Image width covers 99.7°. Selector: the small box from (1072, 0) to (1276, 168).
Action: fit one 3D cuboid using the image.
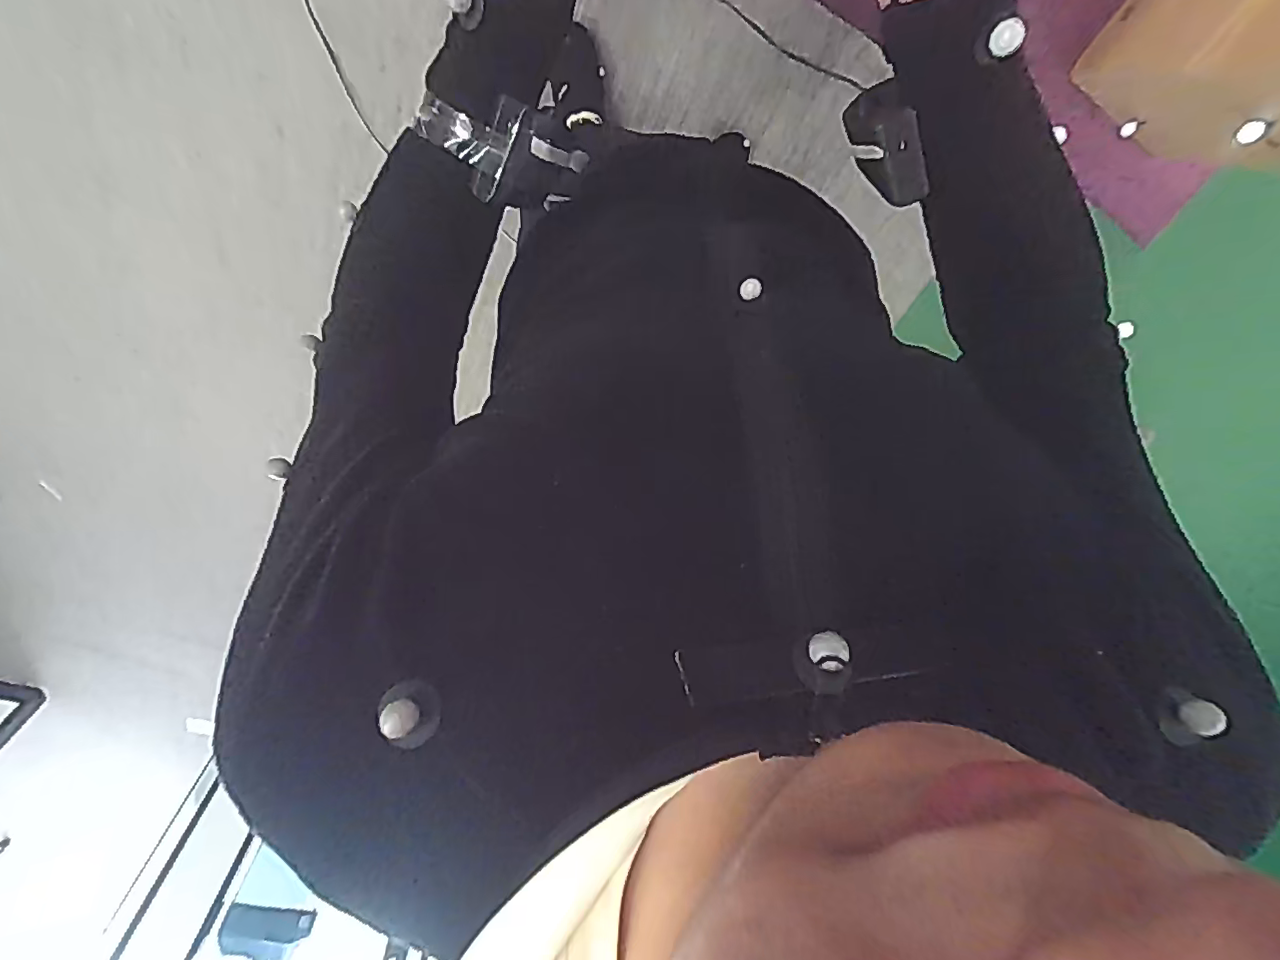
[{"bbox_3d":[0.608,-0.454,0.546,0.179,0.176,0.168,24,122,-17],"label":"small box"}]
